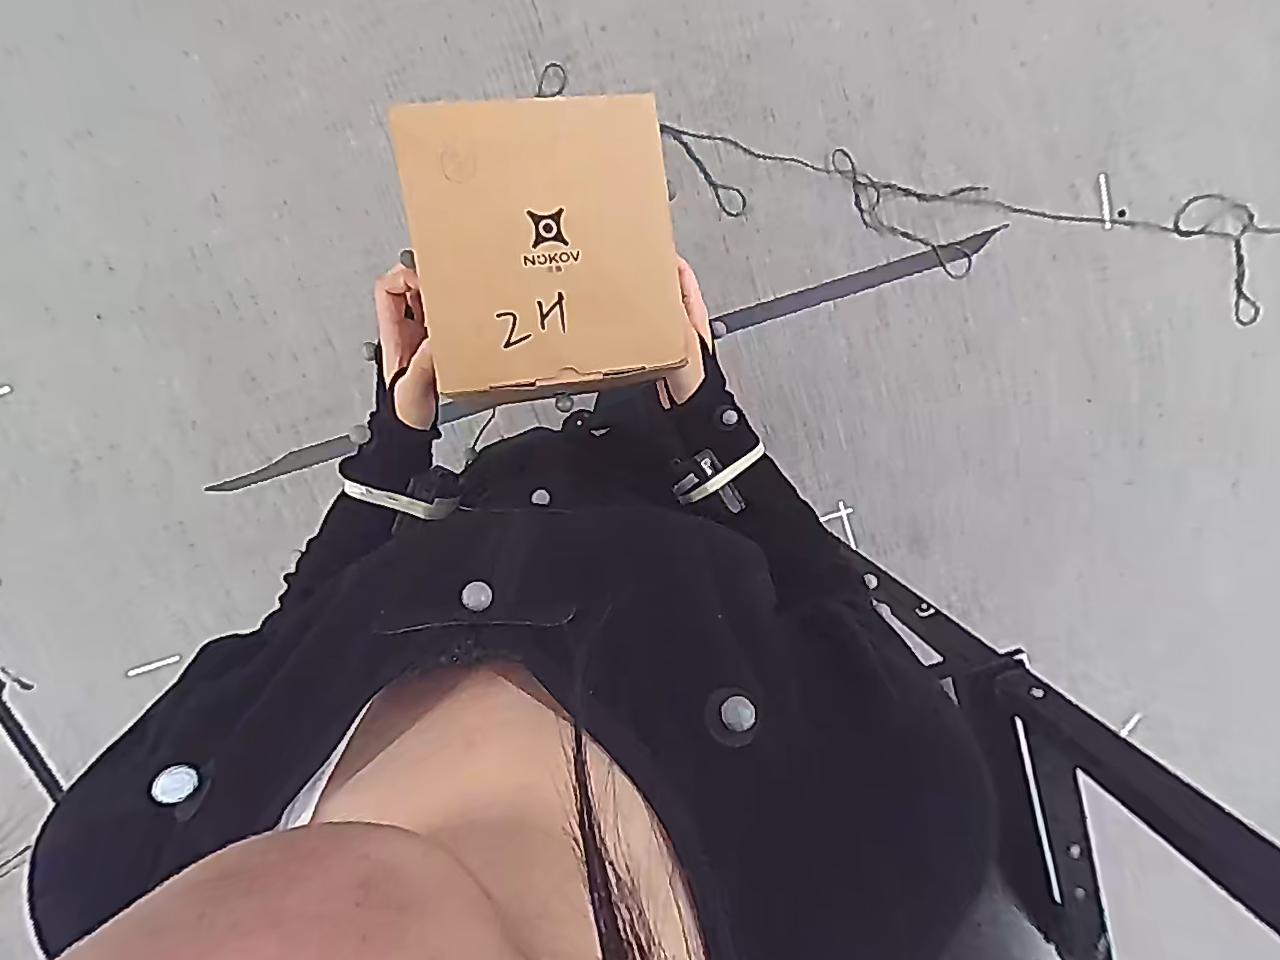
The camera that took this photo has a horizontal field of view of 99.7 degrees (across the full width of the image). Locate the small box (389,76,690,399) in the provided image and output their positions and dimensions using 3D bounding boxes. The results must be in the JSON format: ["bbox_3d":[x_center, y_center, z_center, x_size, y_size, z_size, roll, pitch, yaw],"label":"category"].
[{"bbox_3d":[-0.071,-0.163,0.413,0.168,0.176,0.179,-9,97,-9],"label":"small box"}]
